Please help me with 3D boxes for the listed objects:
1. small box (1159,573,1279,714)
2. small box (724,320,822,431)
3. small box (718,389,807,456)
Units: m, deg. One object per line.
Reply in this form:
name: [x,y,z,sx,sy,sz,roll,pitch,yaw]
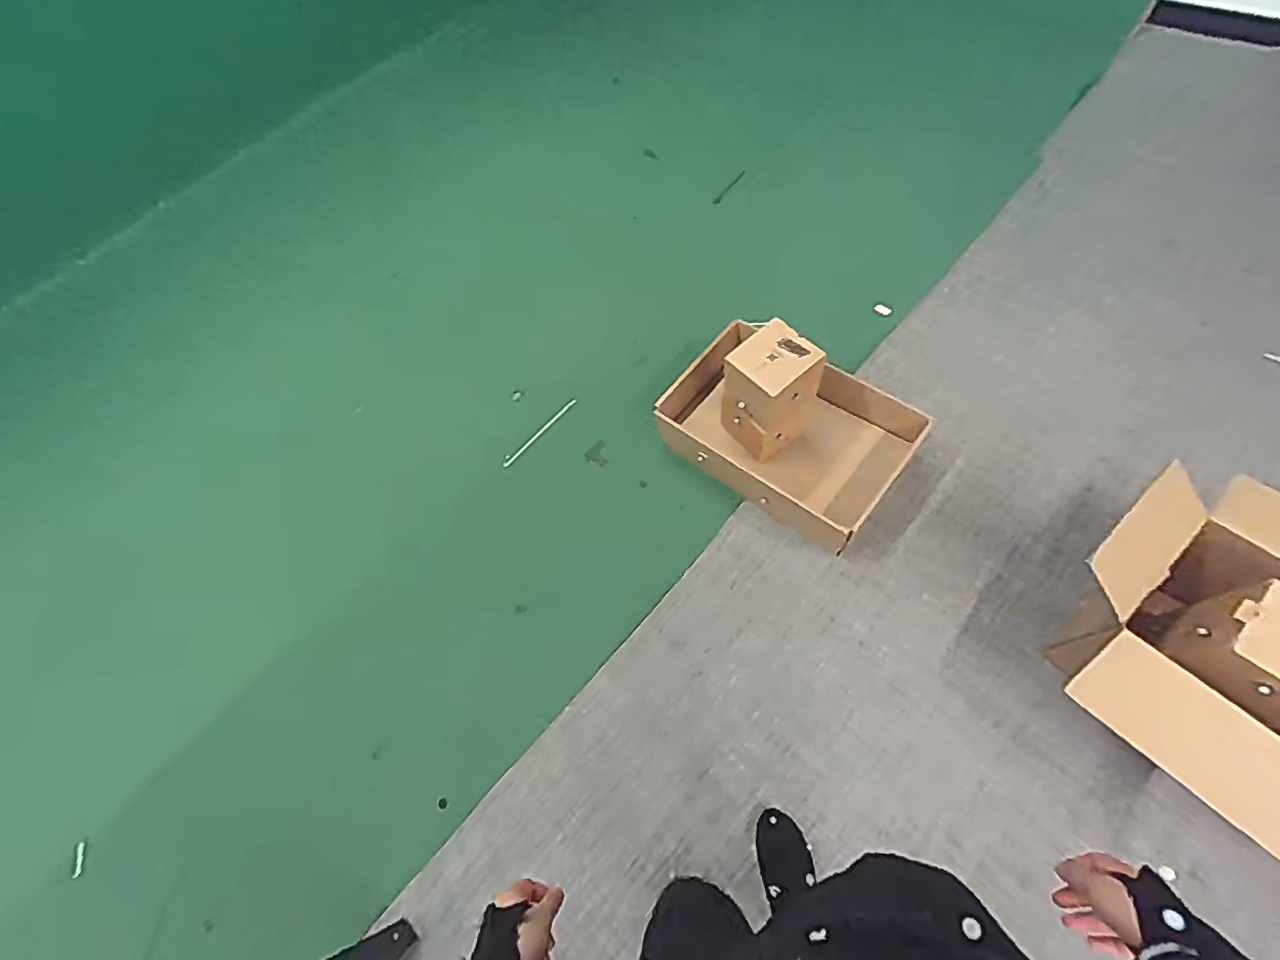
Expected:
small box: [1.120,0.304,0.981,0.179,0.176,0.168,39,77,24]
small box: [0.326,-0.259,1.365,0.179,0.176,0.168,-39,65,-10]
small box: [0.337,-0.188,1.513,0.168,0.176,0.179,-36,65,-10]
